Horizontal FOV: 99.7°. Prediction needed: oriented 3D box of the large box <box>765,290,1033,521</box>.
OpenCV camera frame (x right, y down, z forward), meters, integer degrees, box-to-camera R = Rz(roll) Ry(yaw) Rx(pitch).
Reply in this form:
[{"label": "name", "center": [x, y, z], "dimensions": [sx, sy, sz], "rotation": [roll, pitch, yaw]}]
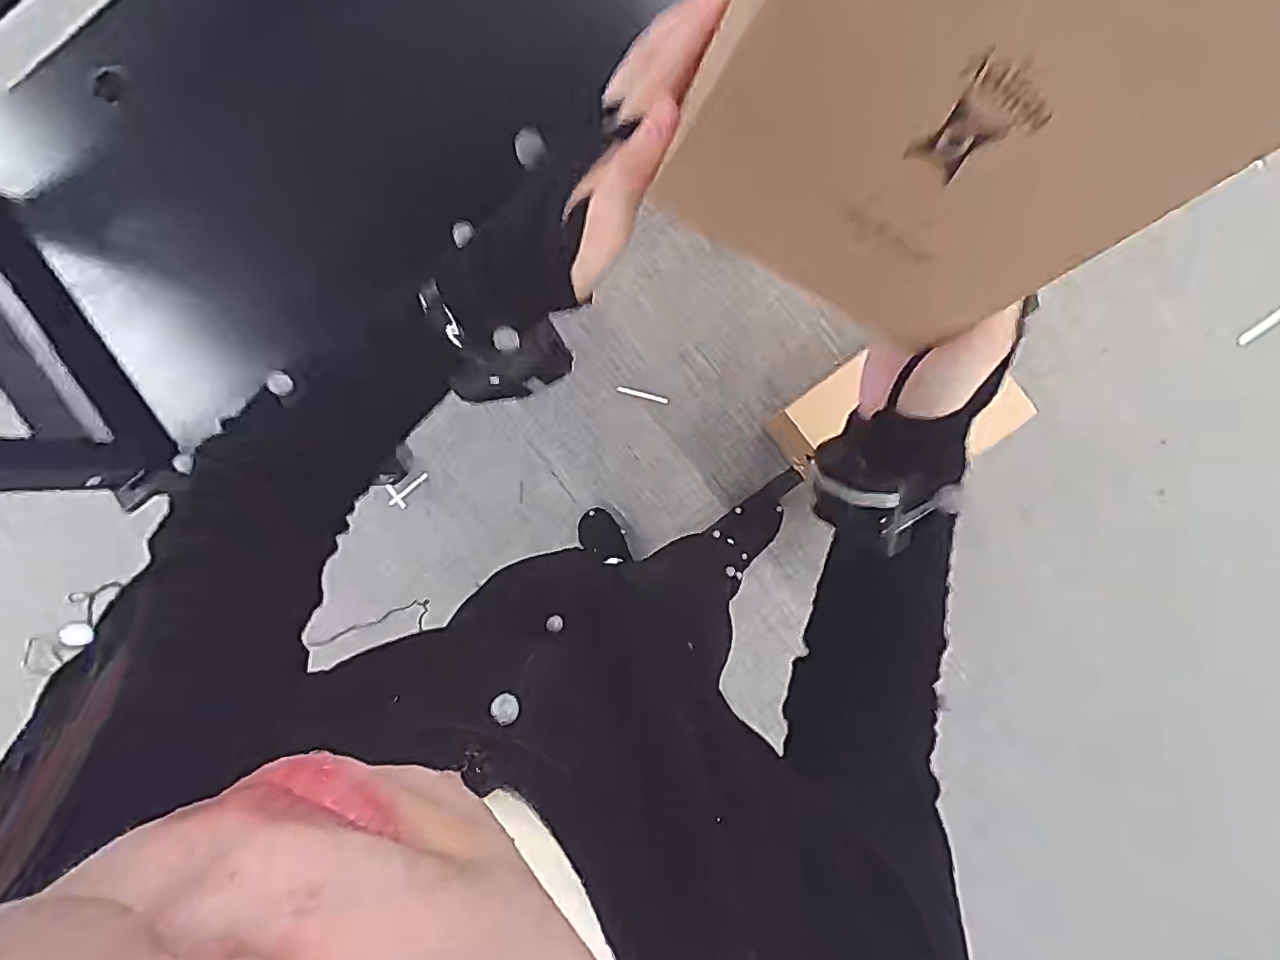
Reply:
[{"label": "large box", "center": [0.560, -0.150, 1.257], "dimensions": [0.408, 0.320, 0.320], "rotation": [-37, 89, 3]}]
